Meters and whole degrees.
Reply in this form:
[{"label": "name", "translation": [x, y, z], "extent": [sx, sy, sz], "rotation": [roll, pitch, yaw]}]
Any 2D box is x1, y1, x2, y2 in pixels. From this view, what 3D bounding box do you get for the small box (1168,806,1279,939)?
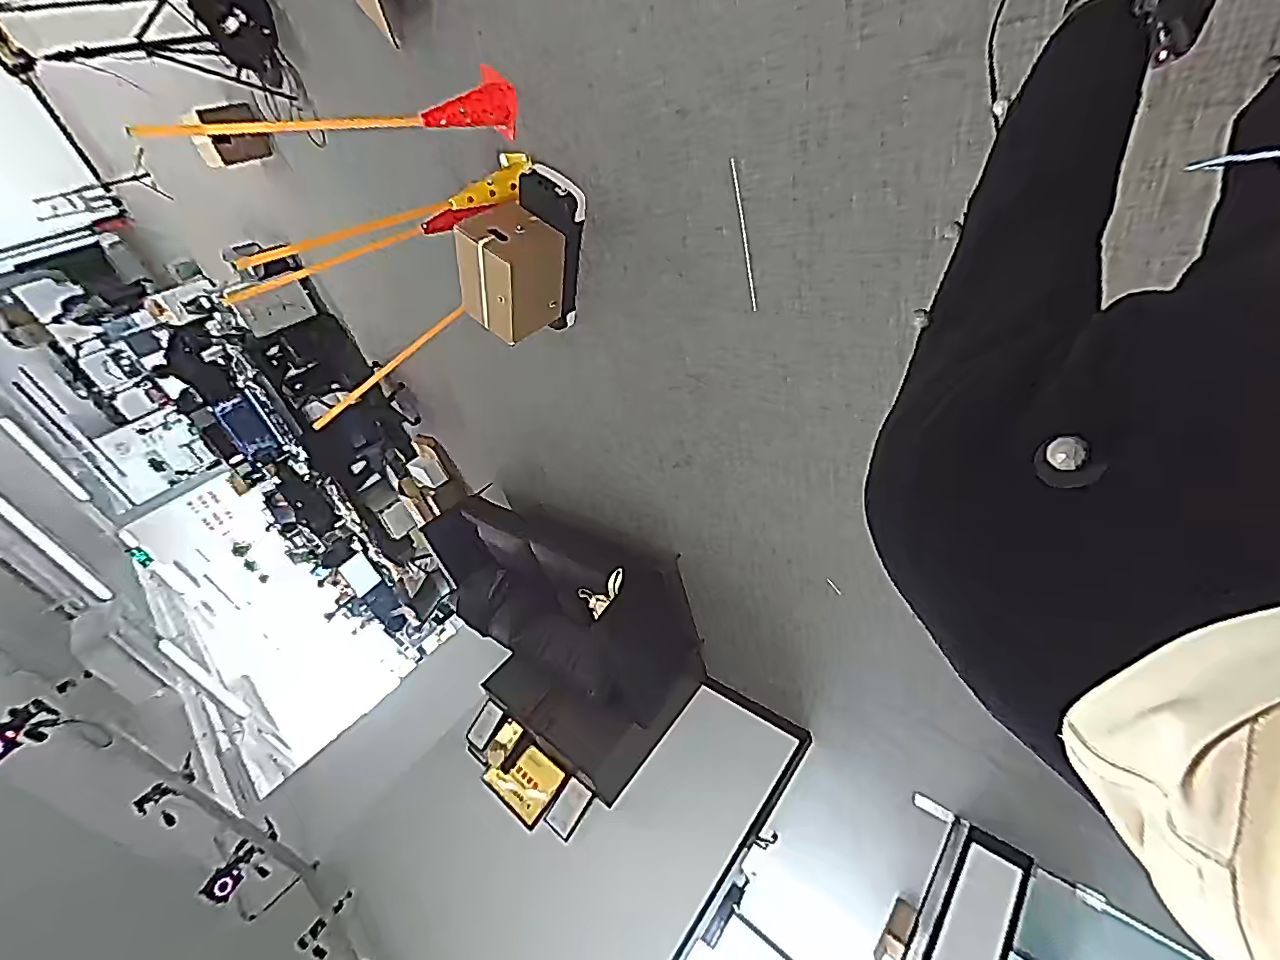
[{"label": "small box", "translation": [1.445, 0.953, 1.324], "extent": [0.168, 0.176, 0.179], "rotation": [20, 136, 40]}]
